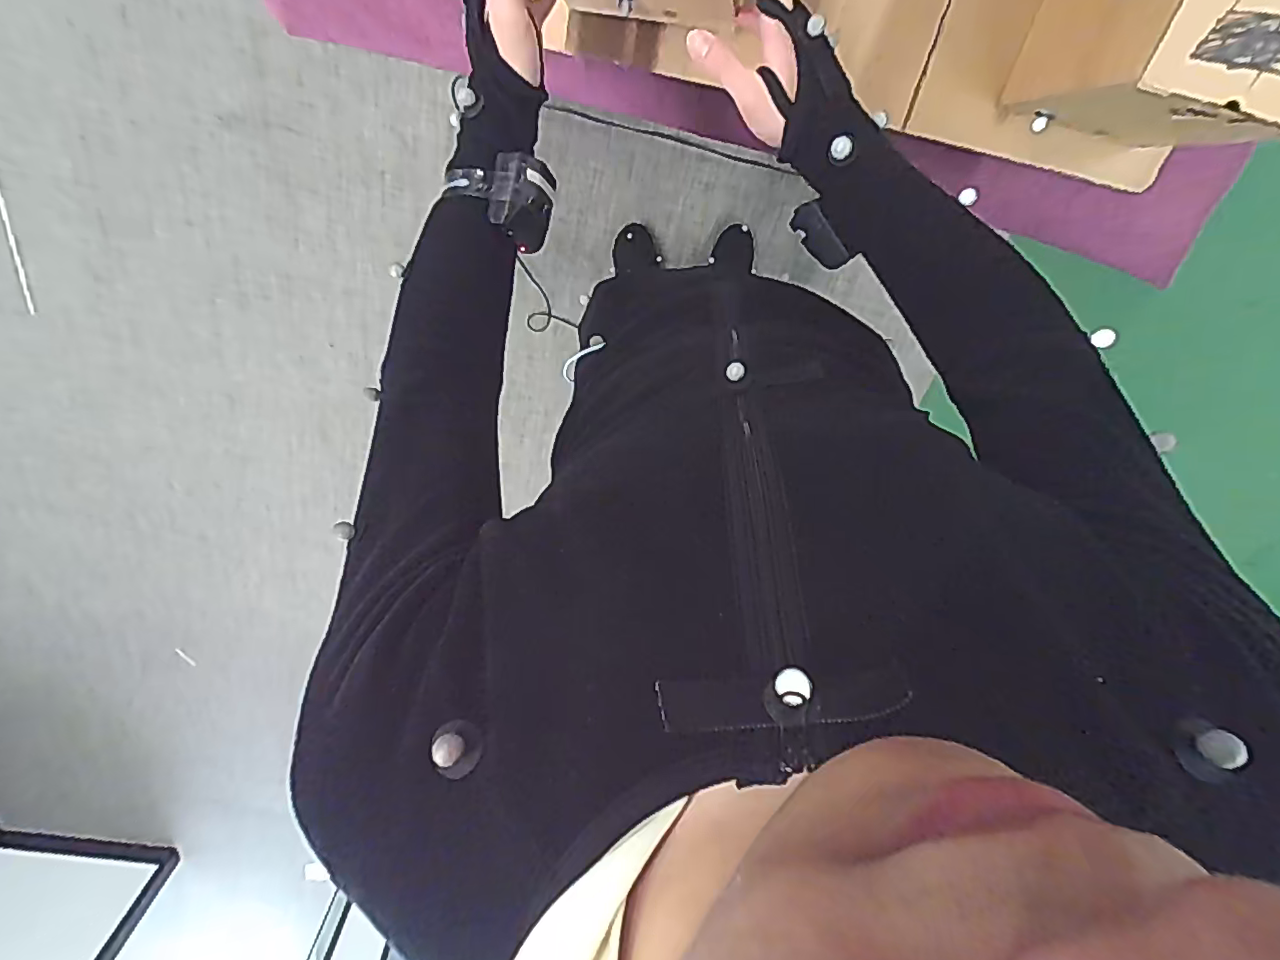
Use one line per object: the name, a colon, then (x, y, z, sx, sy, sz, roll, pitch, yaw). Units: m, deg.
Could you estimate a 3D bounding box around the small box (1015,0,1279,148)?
small box: (0.455, -0.386, 0.437, 0.168, 0.176, 0.179, 9, 117, -8)
